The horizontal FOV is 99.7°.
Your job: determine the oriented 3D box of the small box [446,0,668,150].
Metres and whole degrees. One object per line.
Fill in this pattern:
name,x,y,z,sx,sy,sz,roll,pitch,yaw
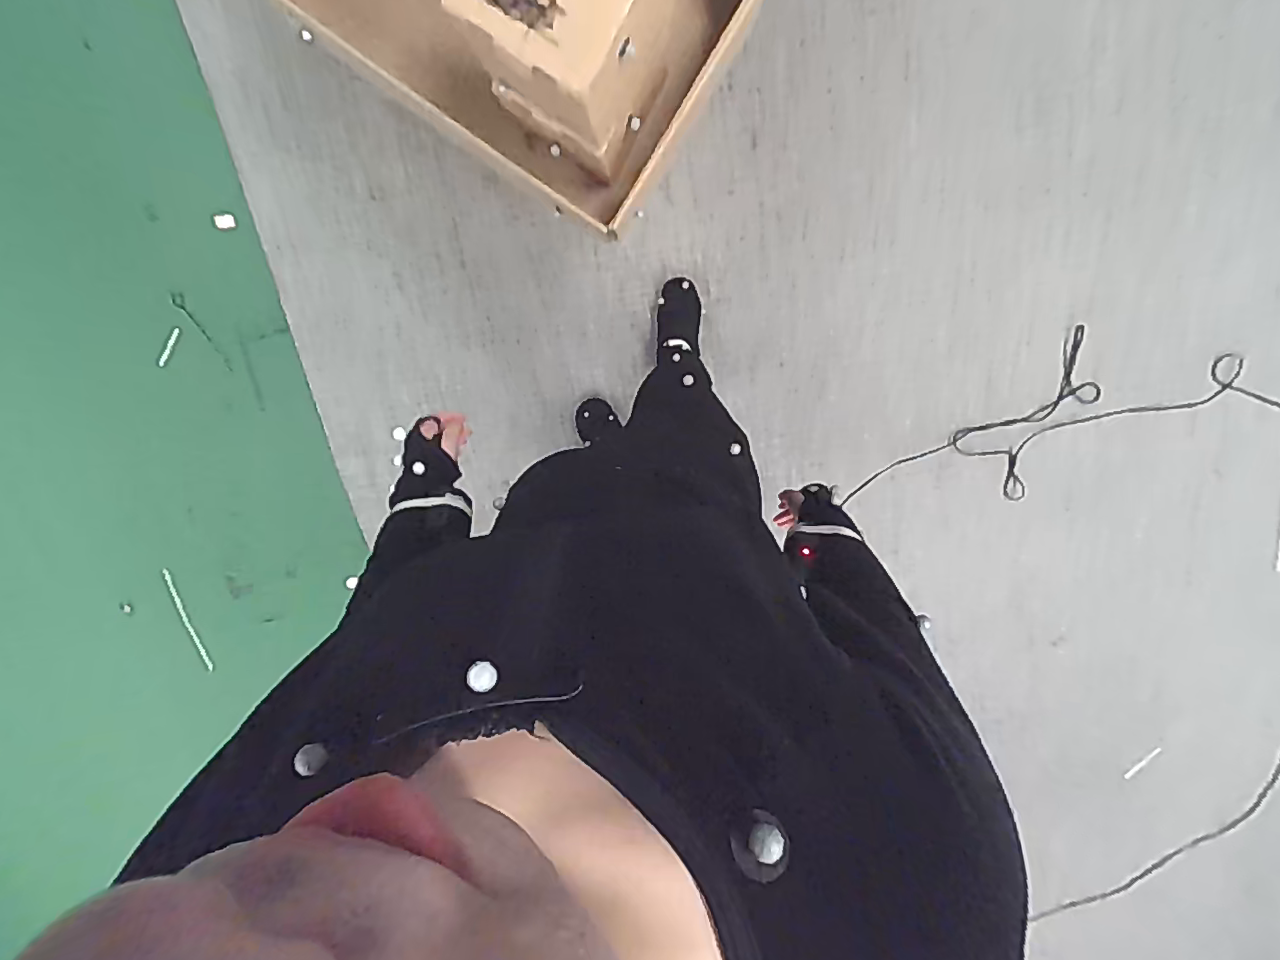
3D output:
small box,-0.076,-0.509,0.597,0.168,0.176,0.179,32,104,-7
